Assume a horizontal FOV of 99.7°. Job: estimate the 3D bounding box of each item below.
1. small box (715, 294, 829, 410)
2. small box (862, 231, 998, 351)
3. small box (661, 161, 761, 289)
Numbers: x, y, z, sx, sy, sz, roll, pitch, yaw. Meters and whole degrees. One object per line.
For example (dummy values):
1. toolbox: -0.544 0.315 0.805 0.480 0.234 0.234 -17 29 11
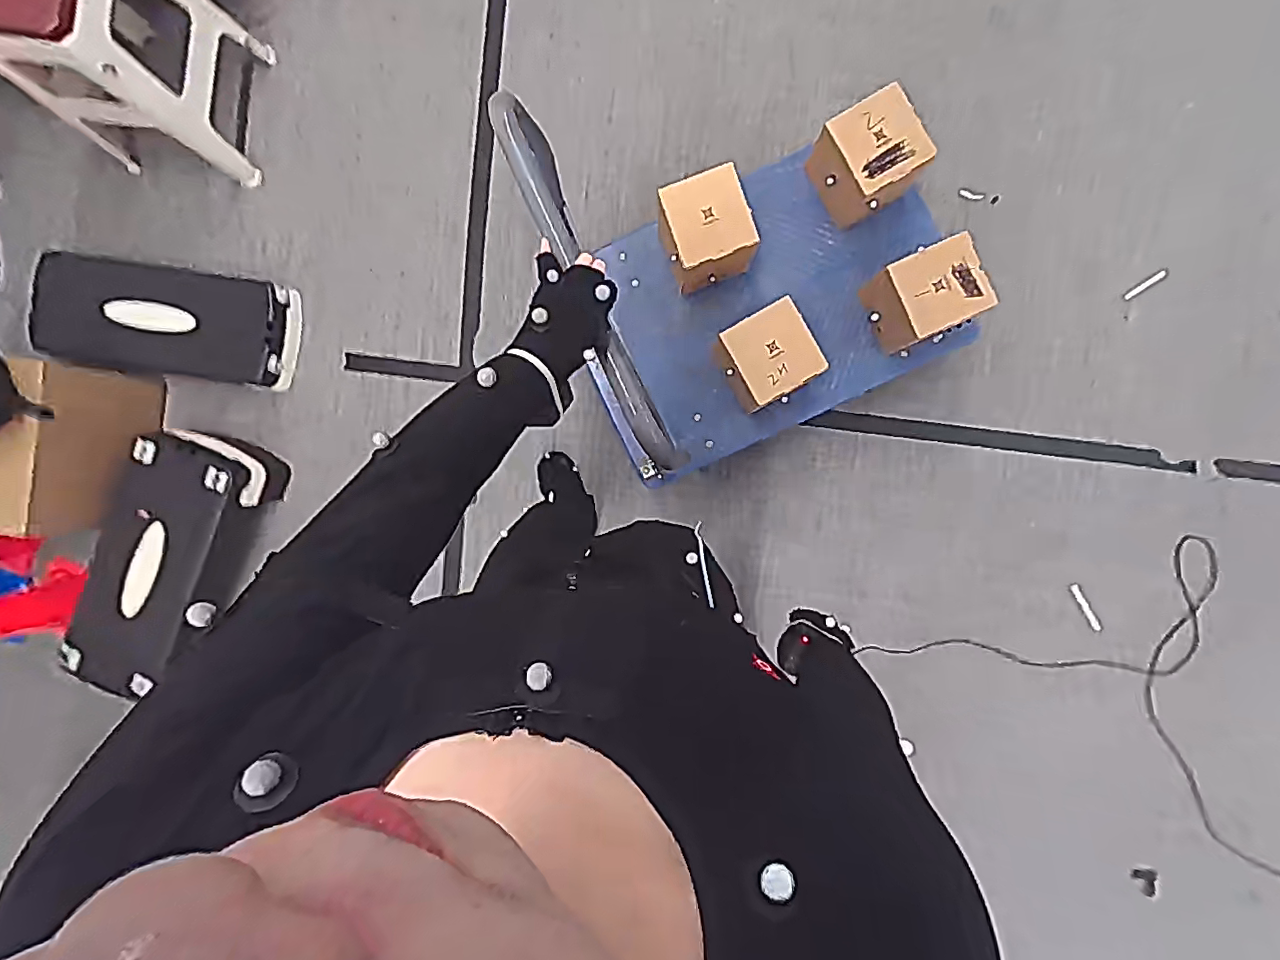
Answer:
1. small box: 0.279 -0.271 1.189 0.168 0.176 0.179 -29 90 3
2. small box: 0.617 -0.399 1.173 0.179 0.176 0.168 -23 91 4
3. small box: 0.147 -0.550 1.188 0.168 0.176 0.179 -20 92 3
